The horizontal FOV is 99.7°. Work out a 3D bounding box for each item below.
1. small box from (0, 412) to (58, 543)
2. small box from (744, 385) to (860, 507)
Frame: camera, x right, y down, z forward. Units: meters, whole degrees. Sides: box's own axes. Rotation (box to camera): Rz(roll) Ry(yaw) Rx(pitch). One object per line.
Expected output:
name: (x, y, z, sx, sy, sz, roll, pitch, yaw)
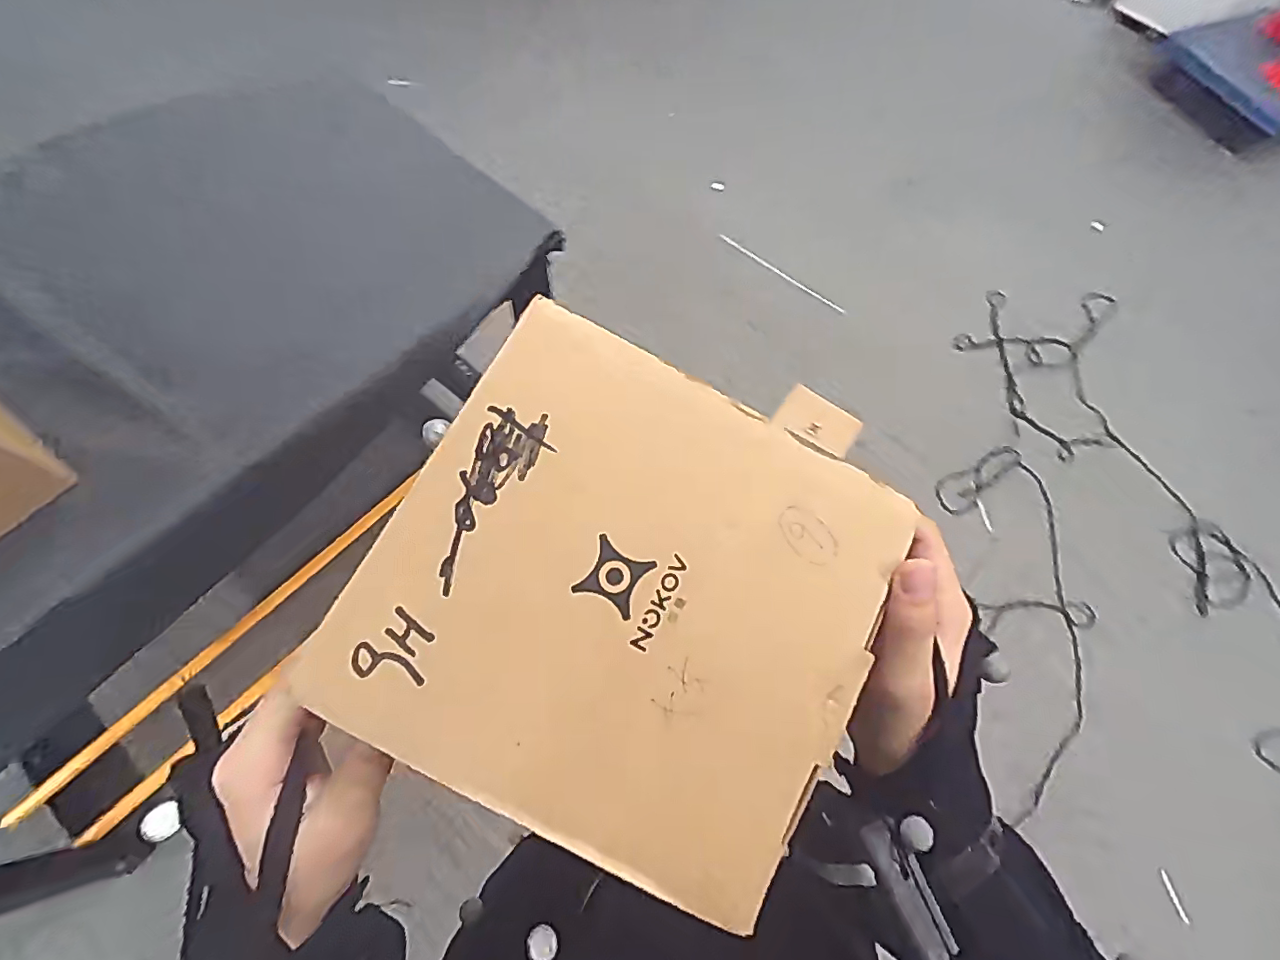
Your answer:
small box: (-0.699, -0.012, 0.481, 0.168, 0.176, 0.179, 34, 69, 12)
small box: (0.347, -0.069, 1.197, 0.168, 0.176, 0.179, 34, 67, 10)
